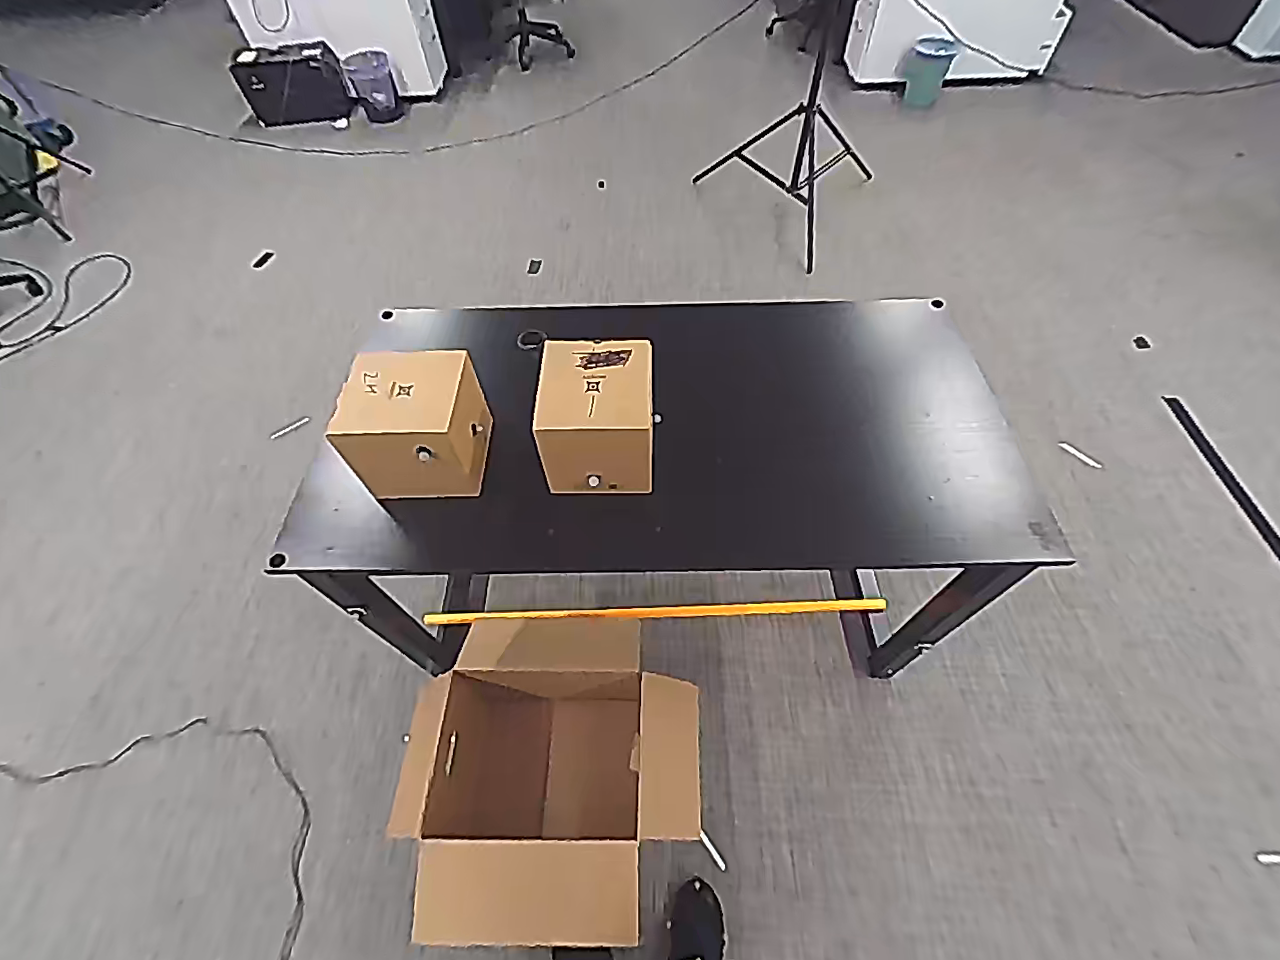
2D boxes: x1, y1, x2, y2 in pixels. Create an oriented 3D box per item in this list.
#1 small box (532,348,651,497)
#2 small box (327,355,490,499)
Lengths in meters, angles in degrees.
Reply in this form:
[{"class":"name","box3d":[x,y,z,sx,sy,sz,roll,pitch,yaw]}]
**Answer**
[{"class":"small box","box3d":[-0.067,-0.090,0.864,0.168,0.176,0.179,0,56,2]},{"class":"small box","box3d":[-0.352,-0.080,0.865,0.179,0.176,0.168,-1,55,1]}]
